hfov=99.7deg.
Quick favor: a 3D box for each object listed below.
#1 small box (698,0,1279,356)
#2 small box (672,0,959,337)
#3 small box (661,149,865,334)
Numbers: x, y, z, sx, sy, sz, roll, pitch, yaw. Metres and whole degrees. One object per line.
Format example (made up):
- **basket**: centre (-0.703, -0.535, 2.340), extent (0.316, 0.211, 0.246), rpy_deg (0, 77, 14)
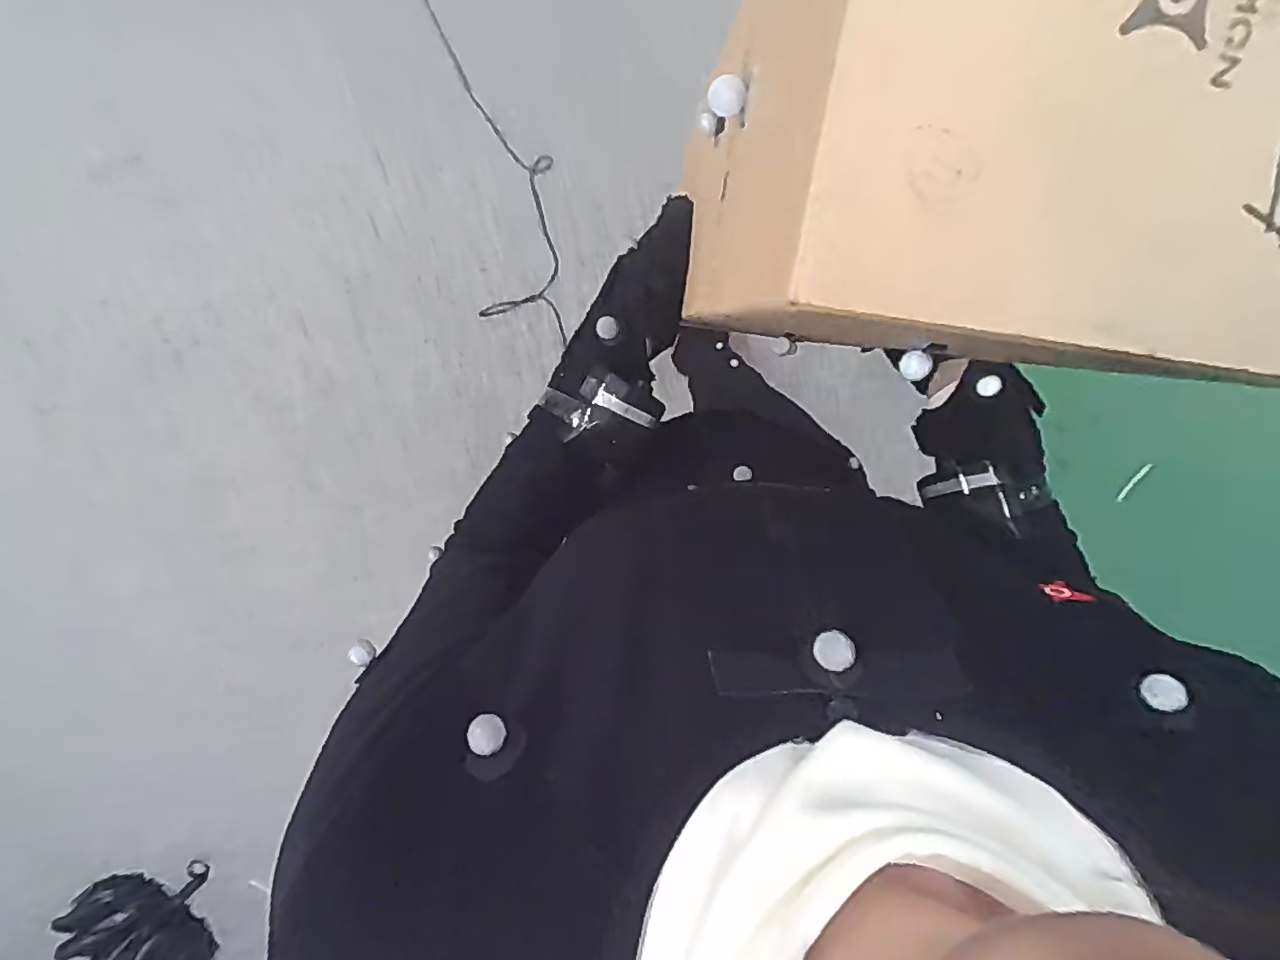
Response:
- **small box**: centre (0.129, -0.146, 0.207), extent (0.179, 0.176, 0.168), rpy_deg (7, 105, -3)
- **small box**: centre (0.122, -0.192, 0.367), extent (0.179, 0.176, 0.168), rpy_deg (4, 106, -3)
- **small box**: centre (0.120, -0.236, 0.523), extent (0.179, 0.176, 0.168), rpy_deg (5, 105, -2)
